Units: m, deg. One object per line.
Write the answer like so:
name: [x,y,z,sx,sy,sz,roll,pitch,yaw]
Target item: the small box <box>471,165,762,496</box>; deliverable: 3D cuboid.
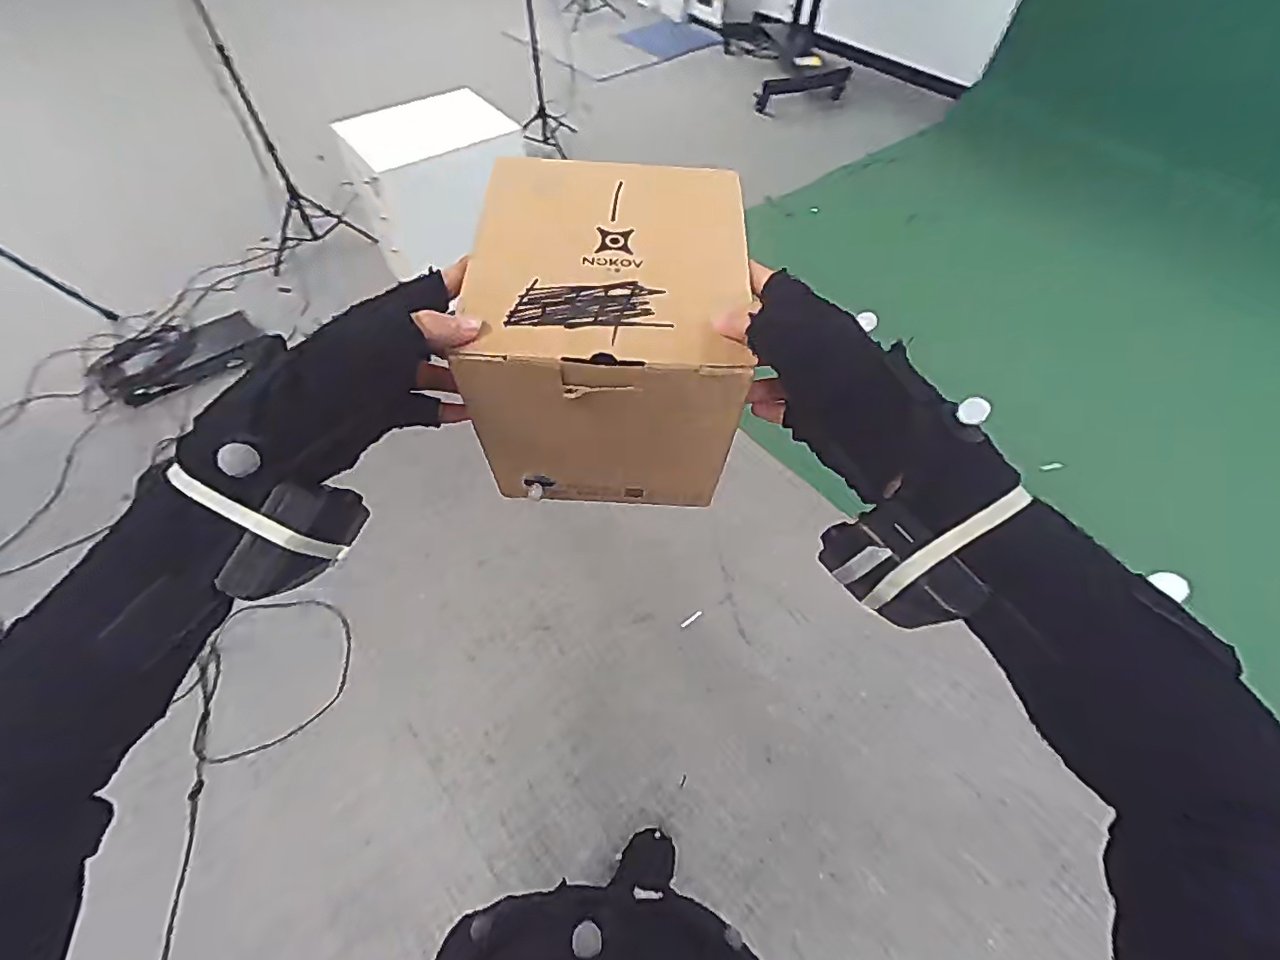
small box: [-0.011,-0.100,0.406,0.168,0.176,0.179,3,61,-1]
